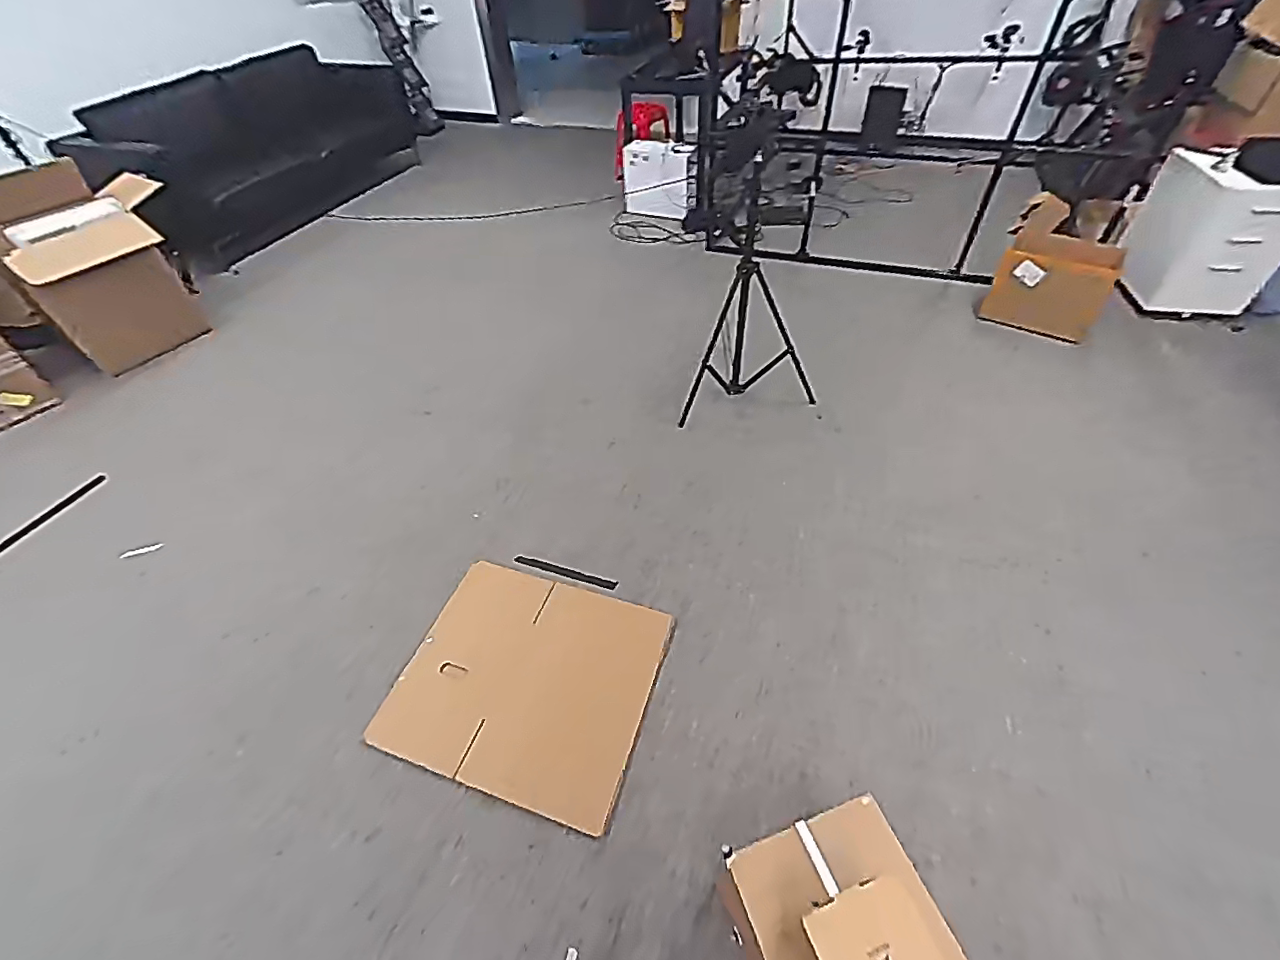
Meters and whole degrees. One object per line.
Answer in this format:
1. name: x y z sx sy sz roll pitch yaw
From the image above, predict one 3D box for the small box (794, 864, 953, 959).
1. small box: 0.352 0.722 0.814 0.168 0.176 0.179 -19 50 -12
